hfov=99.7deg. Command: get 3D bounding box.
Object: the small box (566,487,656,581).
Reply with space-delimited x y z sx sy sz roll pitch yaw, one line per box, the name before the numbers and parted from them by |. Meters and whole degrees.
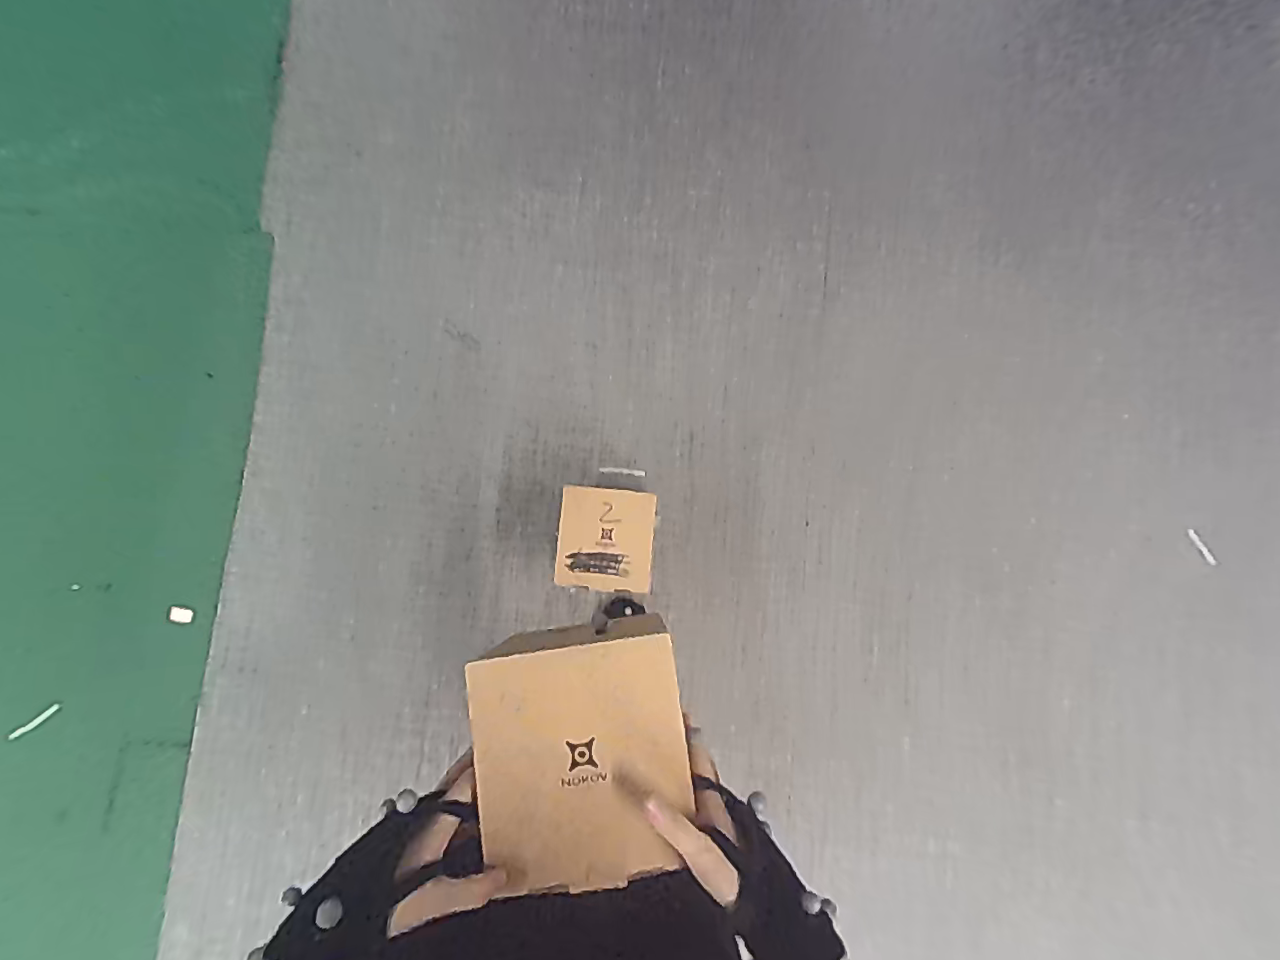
small box | -0.061 0.115 1.172 0.168 0.176 0.179 7 86 -1
